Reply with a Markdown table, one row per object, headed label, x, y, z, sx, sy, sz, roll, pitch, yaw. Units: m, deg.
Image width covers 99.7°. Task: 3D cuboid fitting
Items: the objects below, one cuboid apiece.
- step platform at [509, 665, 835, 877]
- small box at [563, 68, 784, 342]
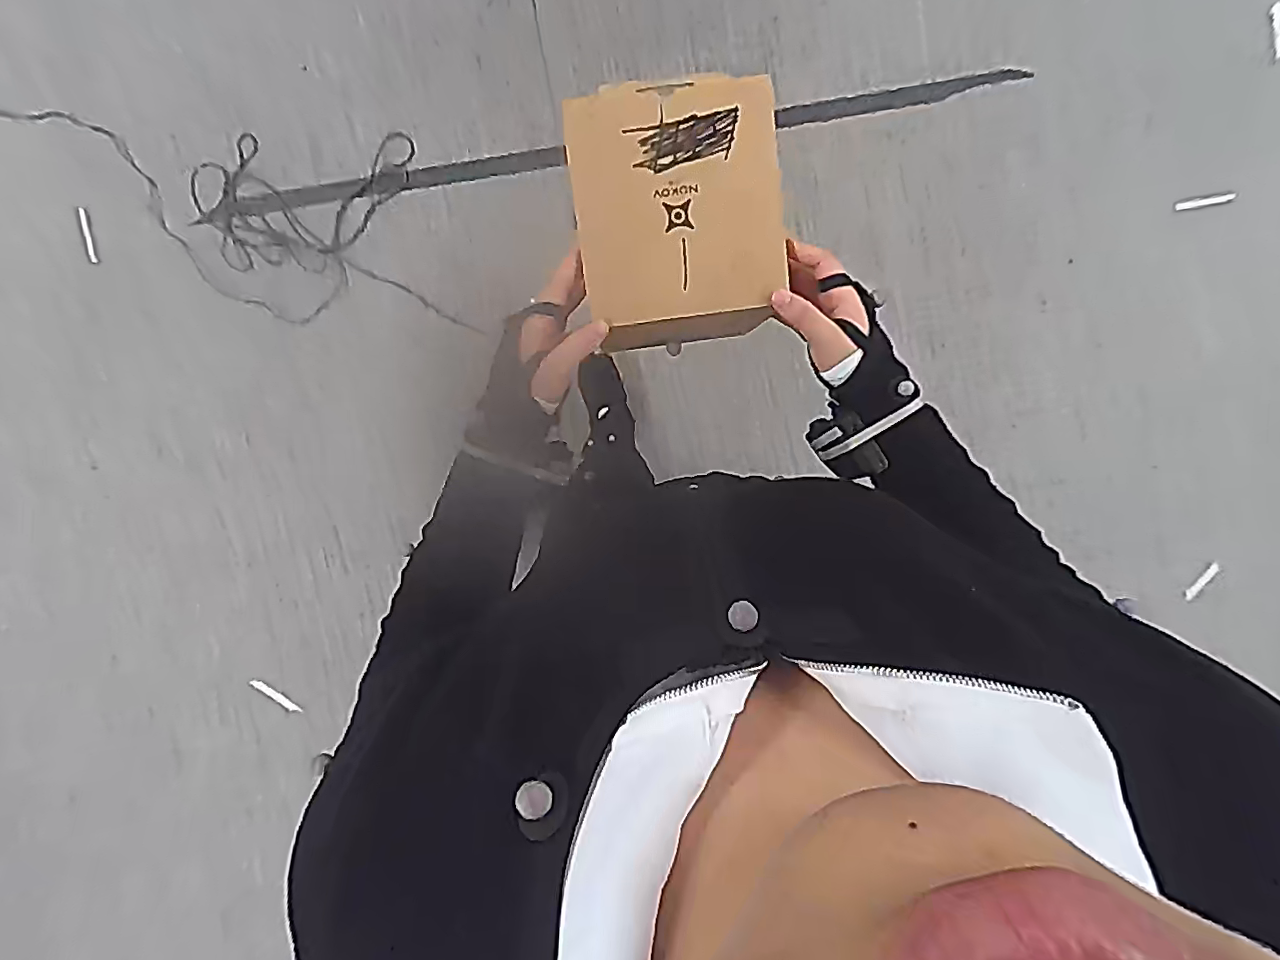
| label | x | y | z | sx | sy | sz | roll | pitch | yaw |
| --- | --- | --- | --- | --- | --- | --- | --- | --- | --- |
| step platform | 0.070 | 0.641 | 1.228 | 0.684 | 0.204 | 0.286 | -12 | 95 | 1 |
| small box | 0.026 | -0.239 | 0.513 | 0.168 | 0.176 | 0.179 | -8 | 97 | 0 |
